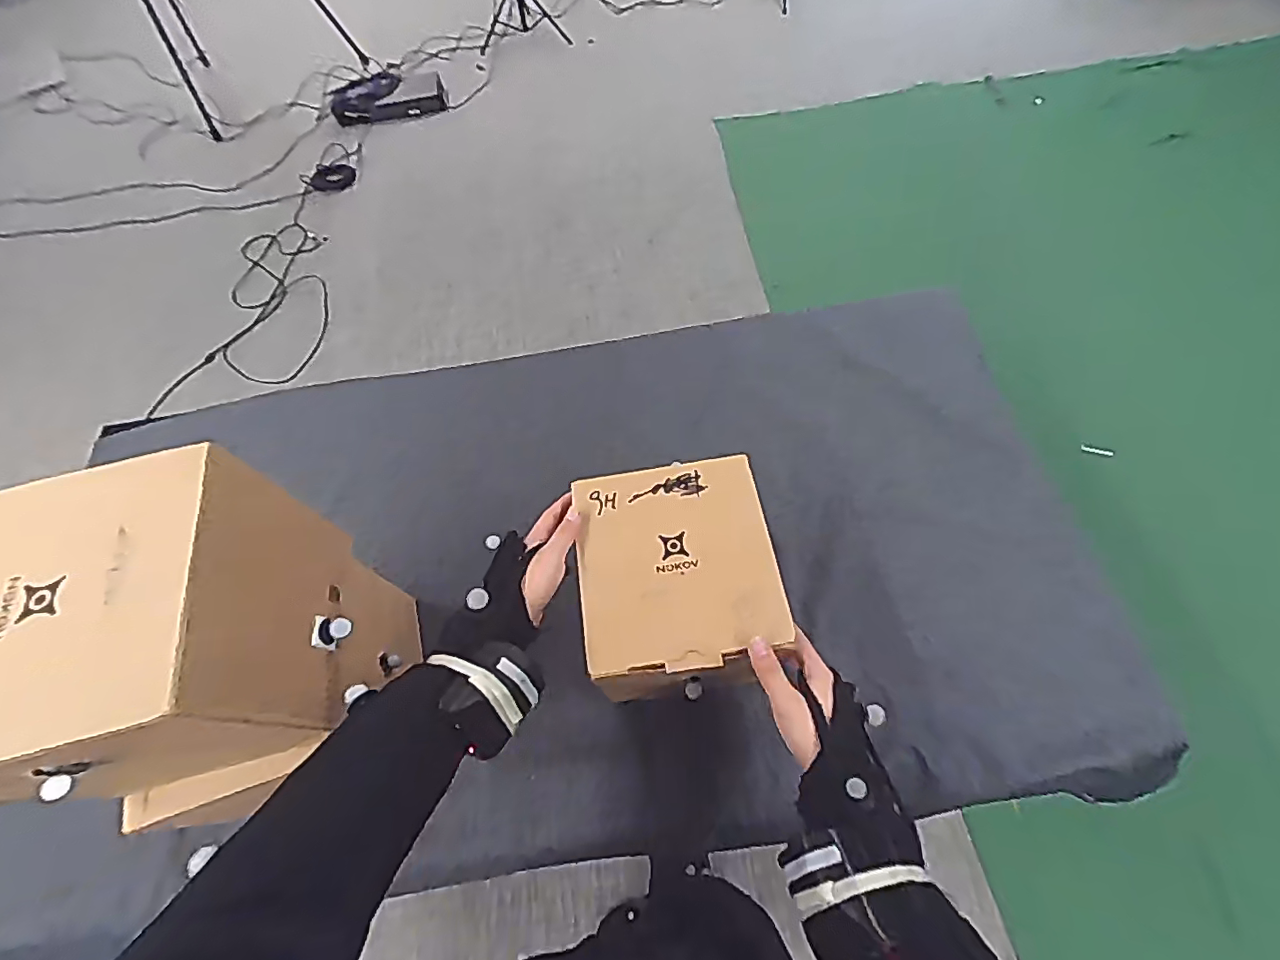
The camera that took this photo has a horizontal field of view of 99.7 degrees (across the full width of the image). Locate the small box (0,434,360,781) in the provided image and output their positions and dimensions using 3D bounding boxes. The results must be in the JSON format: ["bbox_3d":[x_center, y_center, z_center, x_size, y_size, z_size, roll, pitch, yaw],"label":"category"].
[{"bbox_3d":[-0.321,0.097,0.371,0.179,0.176,0.168,-15,64,-4],"label":"small box"}]

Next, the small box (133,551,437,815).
[{"bbox_3d":[-0.311,0.185,0.508,0.168,0.176,0.179,-19,64,-5],"label":"small box"}]

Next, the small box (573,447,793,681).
[{"bbox_3d":[0.036,0.093,0.530,0.168,0.176,0.179,-10,63,0],"label":"small box"}]
